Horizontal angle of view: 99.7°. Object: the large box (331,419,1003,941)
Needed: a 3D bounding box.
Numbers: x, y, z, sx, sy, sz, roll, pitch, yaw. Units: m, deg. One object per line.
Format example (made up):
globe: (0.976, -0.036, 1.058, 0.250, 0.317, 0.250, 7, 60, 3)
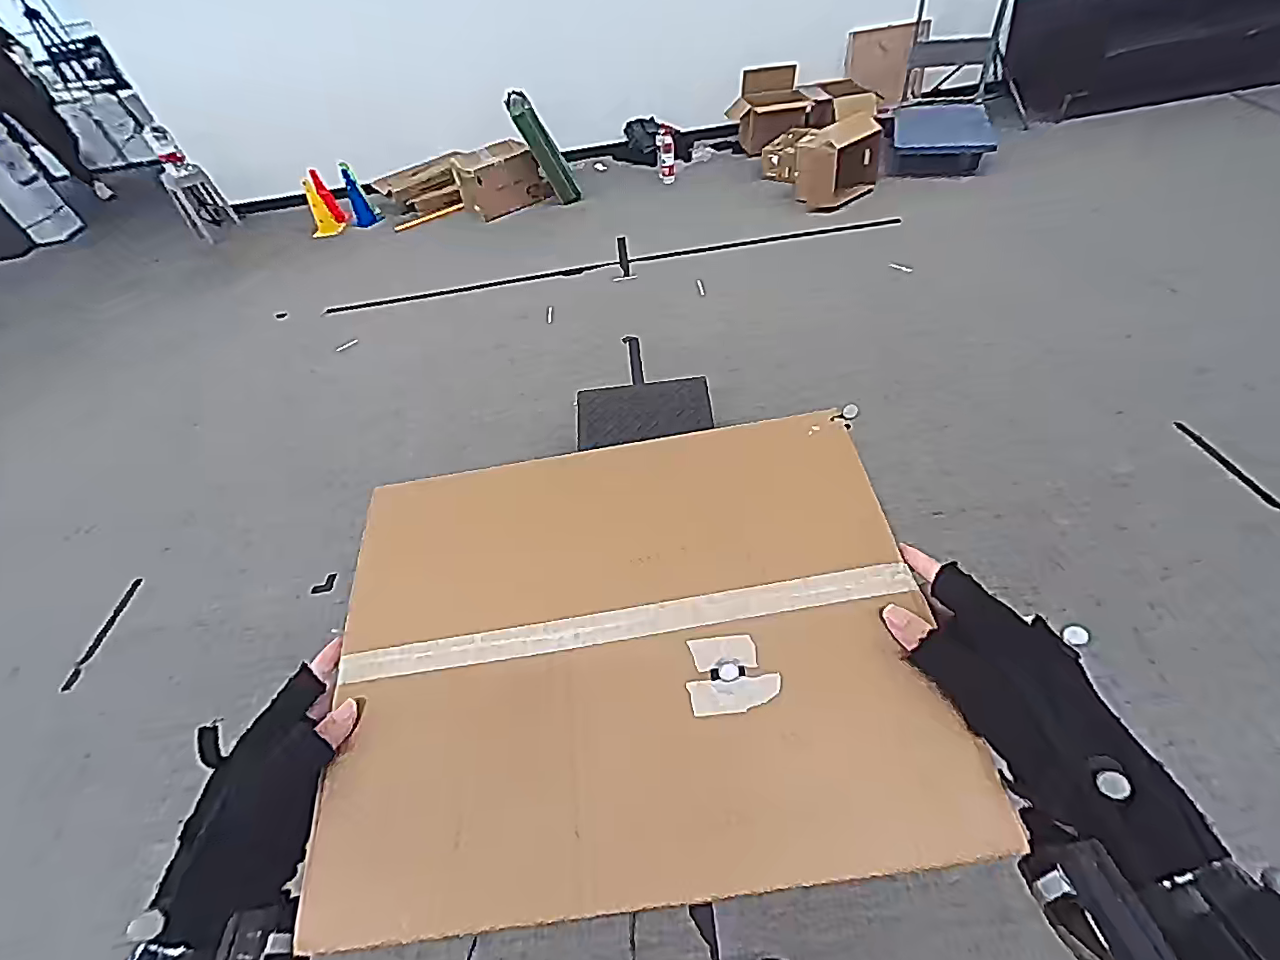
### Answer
large box: (0.009, 0.187, 0.515, 0.408, 0.320, 0.320, -10, 57, 1)
